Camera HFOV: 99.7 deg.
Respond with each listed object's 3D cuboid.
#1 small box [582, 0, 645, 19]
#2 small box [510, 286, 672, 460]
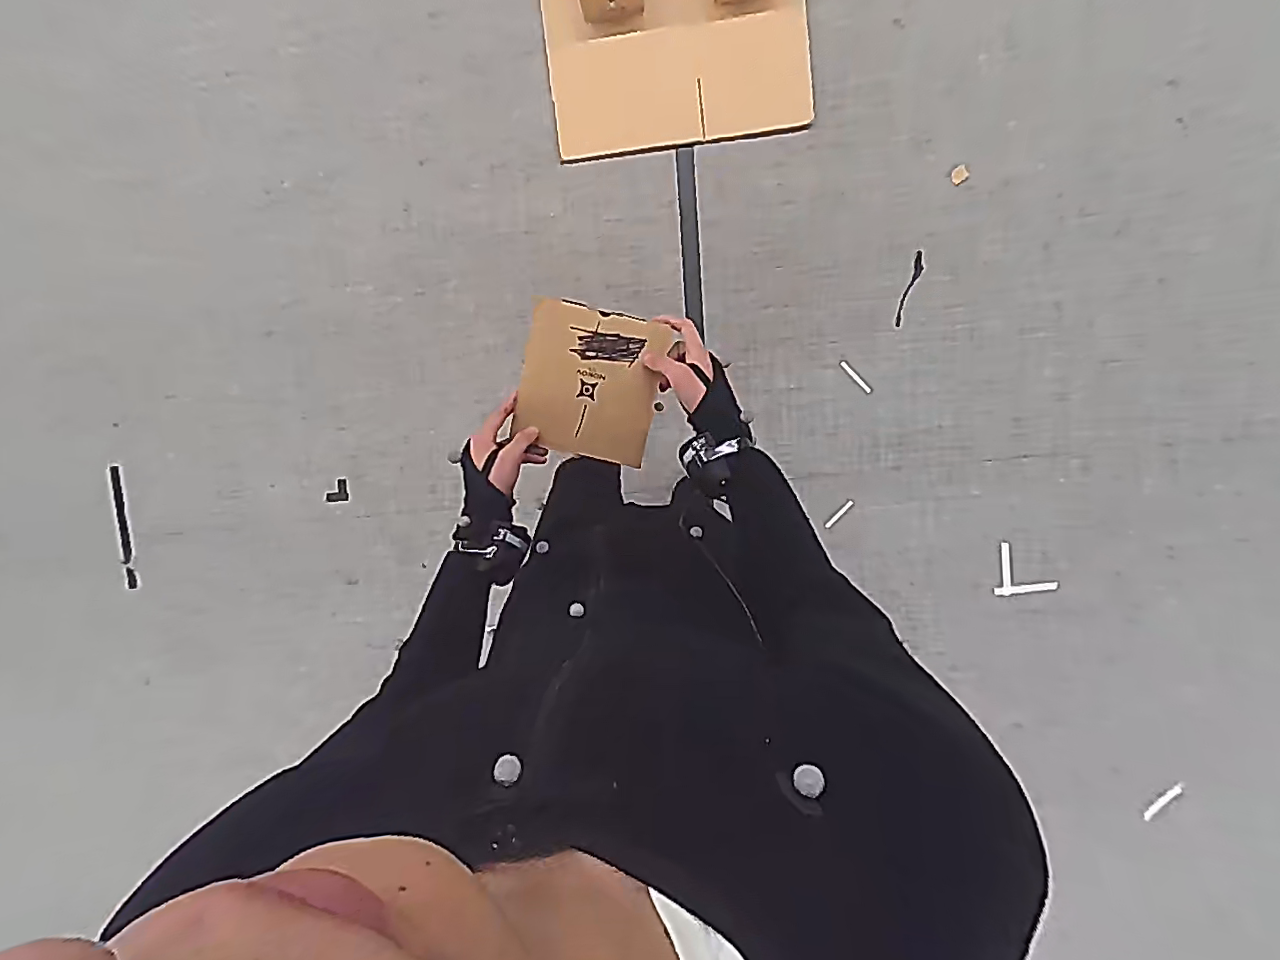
[{"bbox_3d":[-0.081,-1.317,1.355,0.168,0.176,0.179,-6,97,5],"label":"small box"},{"bbox_3d":[-0.061,-0.136,0.722,0.168,0.176,0.179,13,98,-2],"label":"small box"}]
